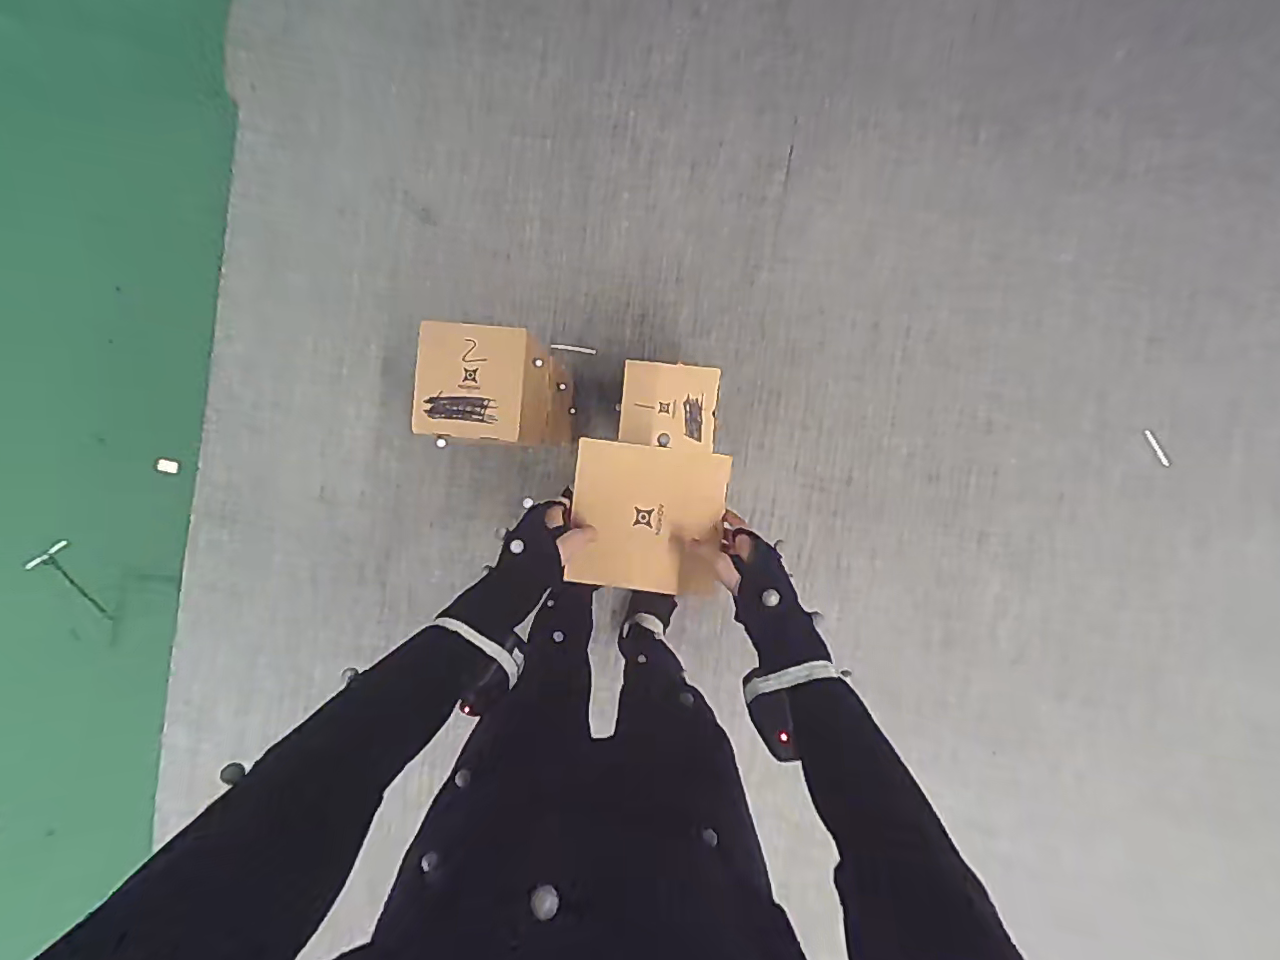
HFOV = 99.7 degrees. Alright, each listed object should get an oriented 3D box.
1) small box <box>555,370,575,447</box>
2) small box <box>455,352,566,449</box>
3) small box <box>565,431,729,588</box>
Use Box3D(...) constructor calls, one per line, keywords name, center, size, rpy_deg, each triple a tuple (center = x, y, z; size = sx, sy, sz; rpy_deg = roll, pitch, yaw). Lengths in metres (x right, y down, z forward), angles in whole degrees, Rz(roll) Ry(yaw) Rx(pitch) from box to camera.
Box3D(name="small box", center=(-0.249, -0.166, 1.244), size=(0.179, 0.176, 0.168), rpy_deg=(4, 91, 2))
Box3D(name="small box", center=(-0.250, -0.151, 1.081), size=(0.179, 0.176, 0.168), rpy_deg=(5, 91, 3))
Box3D(name="small box", center=(0.009, 0.034, 0.705), size=(0.179, 0.176, 0.168), rpy_deg=(7, 91, 0))
